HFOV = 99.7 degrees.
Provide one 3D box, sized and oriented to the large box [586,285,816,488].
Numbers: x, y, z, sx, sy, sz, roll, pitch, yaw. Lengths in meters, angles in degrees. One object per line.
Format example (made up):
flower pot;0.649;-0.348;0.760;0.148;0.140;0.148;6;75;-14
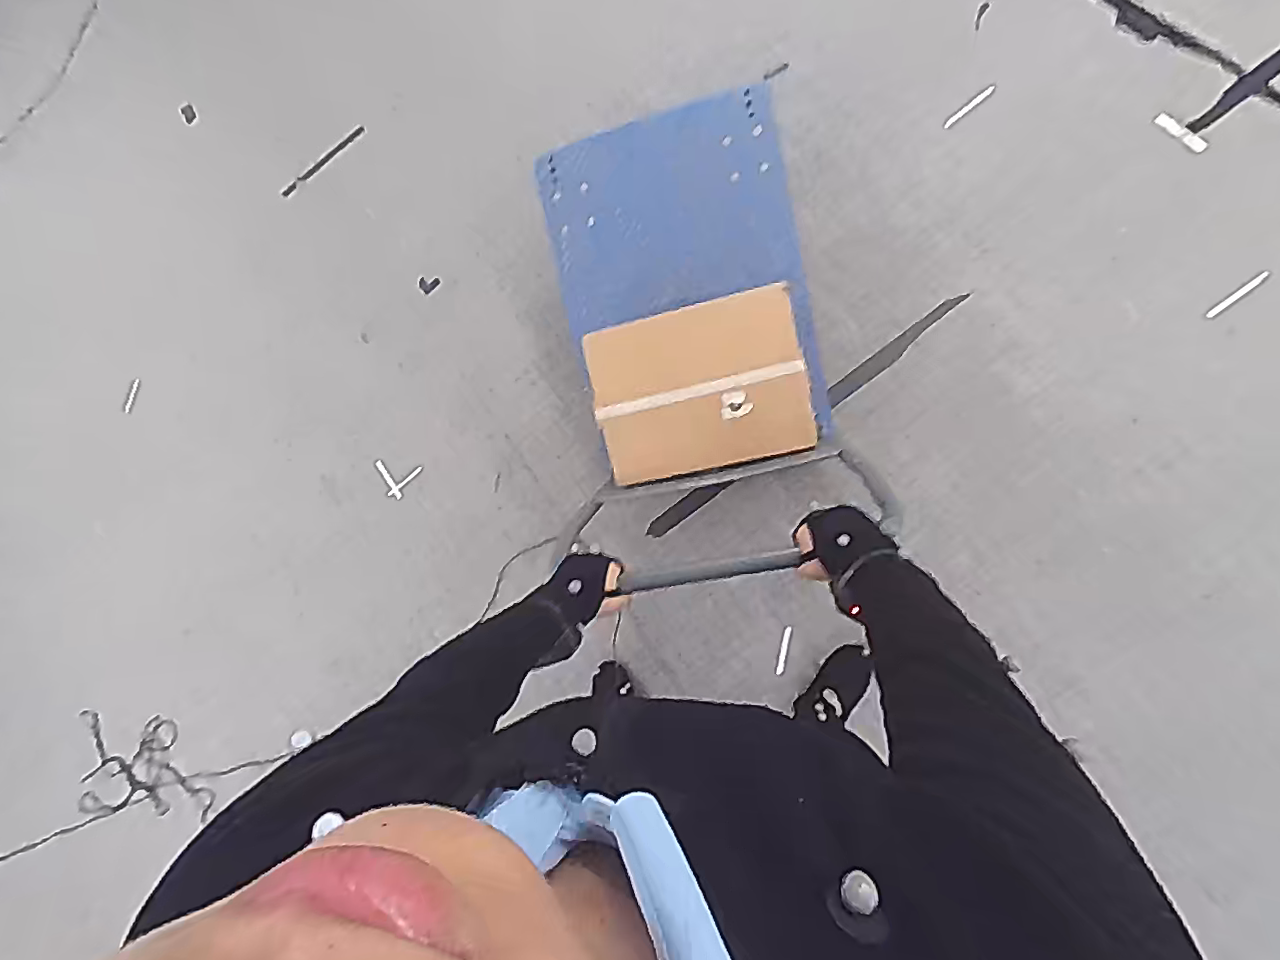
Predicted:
large box;0.136;-0.195;1.211;0.408;0.320;0.320;-13;97;10
